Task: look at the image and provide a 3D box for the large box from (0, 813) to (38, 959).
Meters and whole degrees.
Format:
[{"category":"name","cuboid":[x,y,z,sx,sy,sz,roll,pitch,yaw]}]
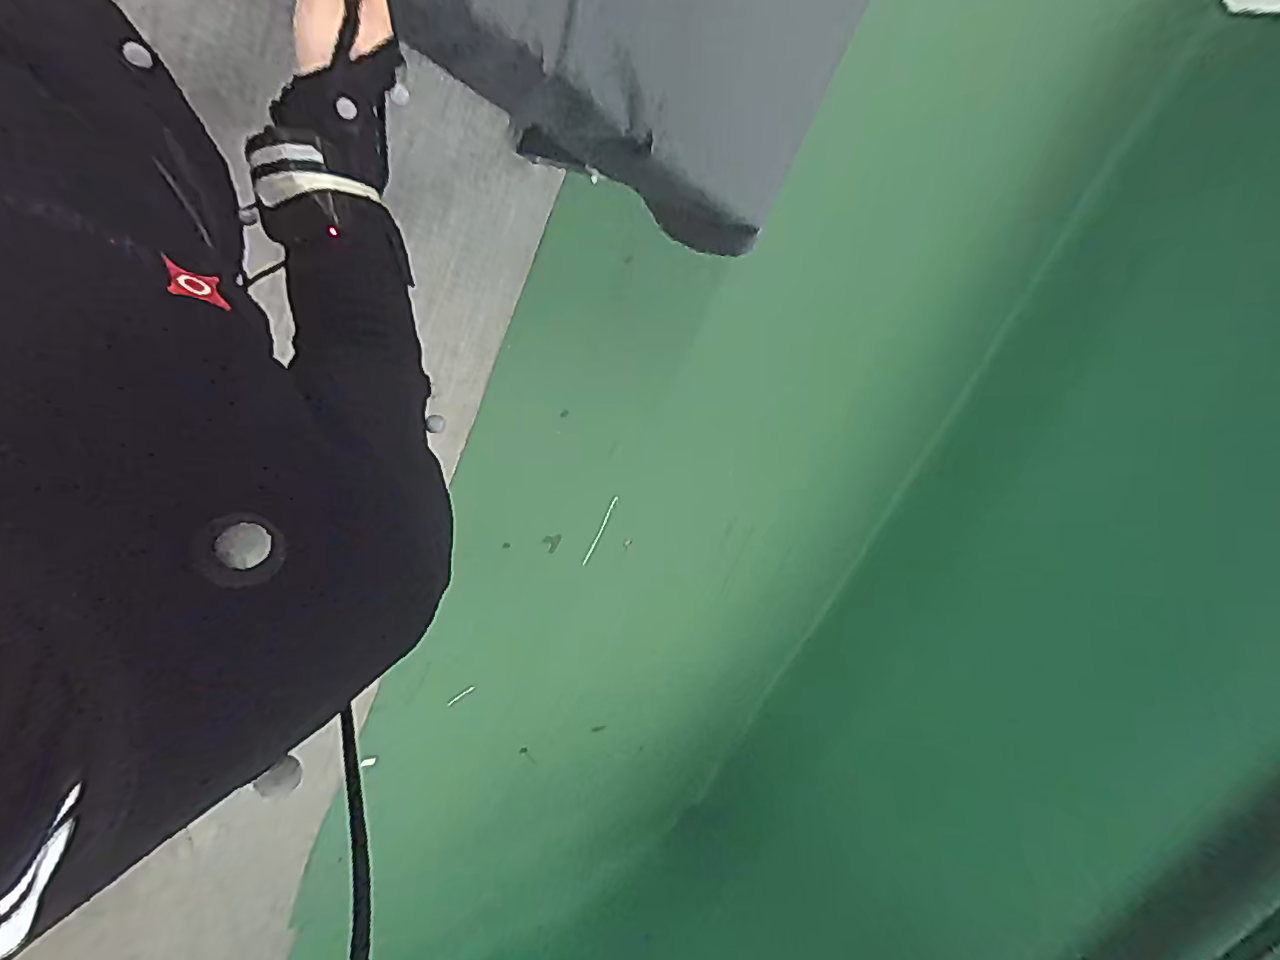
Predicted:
[{"category":"large box","cuboid":[-1.606,0.978,1.130,0.408,0.320,0.320,18,106,-46]}]
